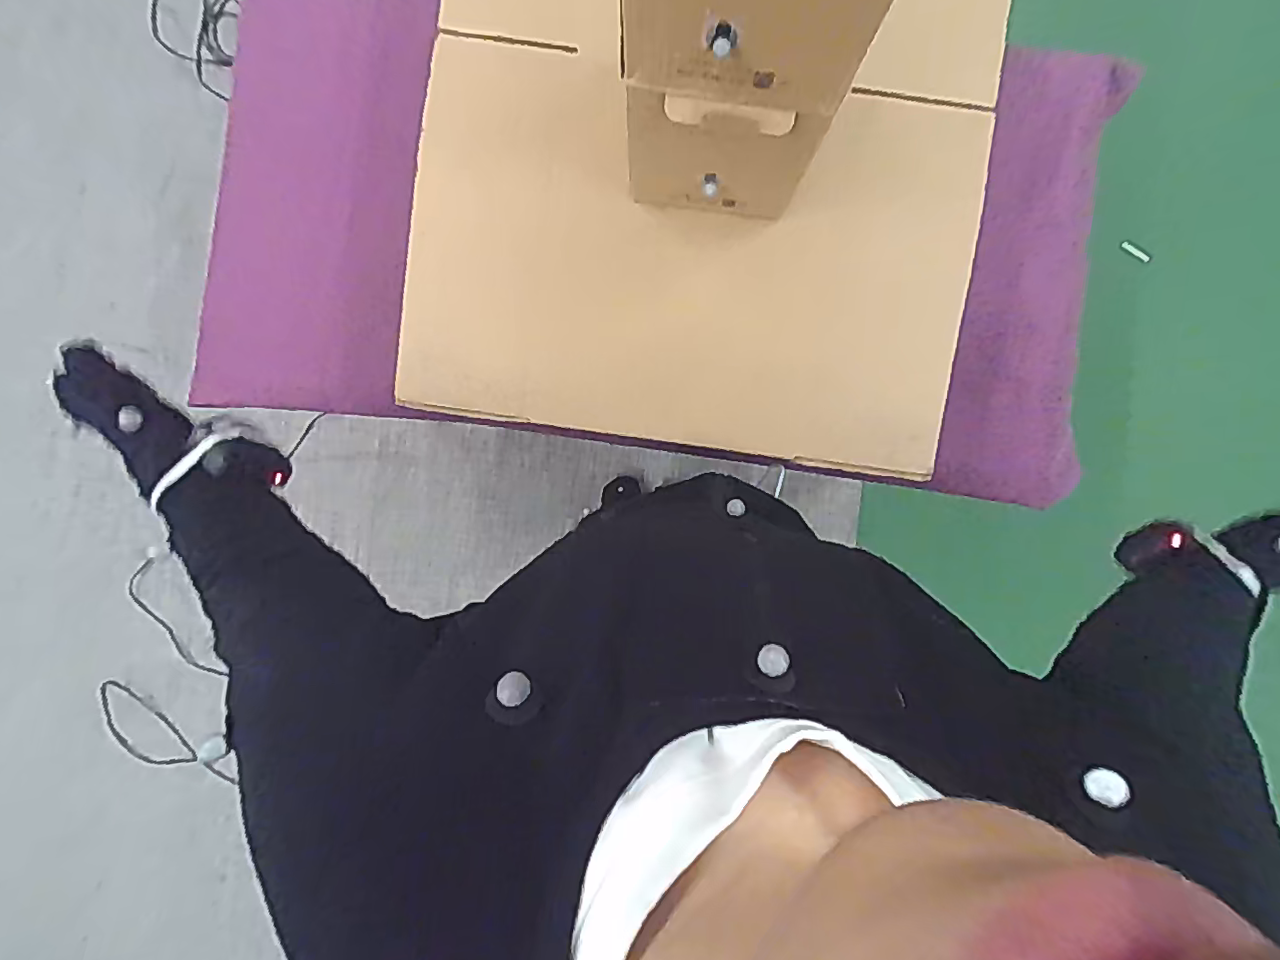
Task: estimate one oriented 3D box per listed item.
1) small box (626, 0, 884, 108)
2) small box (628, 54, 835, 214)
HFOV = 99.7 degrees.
[{"bbox_3d":[0.081,-0.384,0.337,0.168,0.176,0.179,8,89,0],"label":"small box"},{"bbox_3d":[0.082,-0.382,0.500,0.168,0.176,0.179,8,89,1],"label":"small box"}]
